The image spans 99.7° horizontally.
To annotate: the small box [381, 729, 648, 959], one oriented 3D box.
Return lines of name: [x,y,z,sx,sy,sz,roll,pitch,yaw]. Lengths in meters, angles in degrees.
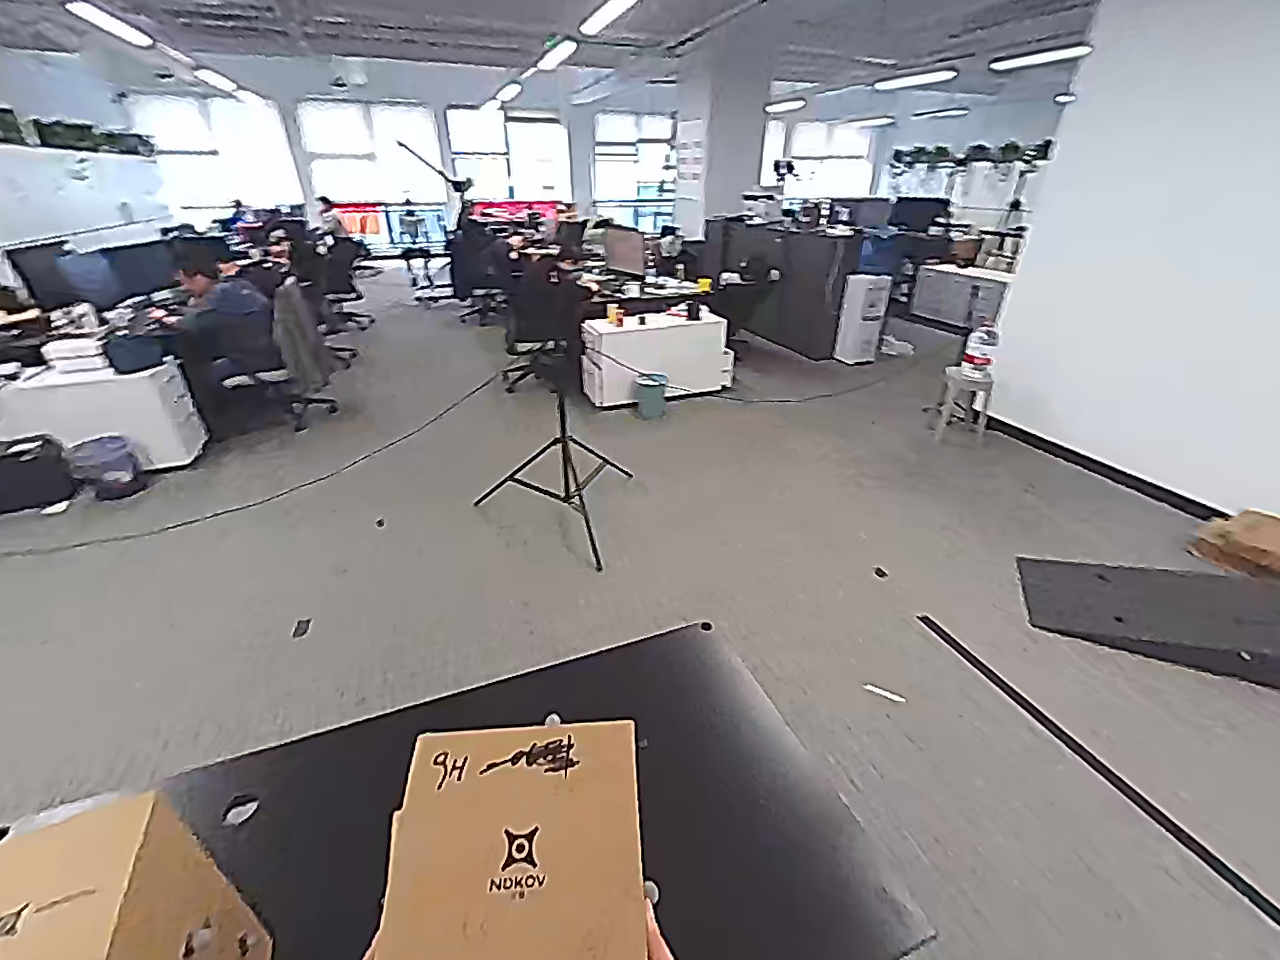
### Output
small box: [-0.079,0.311,0.416,0.168,0.176,0.179,-2,50,-4]

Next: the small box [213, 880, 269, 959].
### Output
small box: [-0.494,0.564,0.539,0.168,0.176,0.179,-14,33,-22]

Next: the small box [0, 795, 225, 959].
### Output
small box: [-0.496,0.422,0.455,0.179,0.176,0.168,-13,31,-22]
